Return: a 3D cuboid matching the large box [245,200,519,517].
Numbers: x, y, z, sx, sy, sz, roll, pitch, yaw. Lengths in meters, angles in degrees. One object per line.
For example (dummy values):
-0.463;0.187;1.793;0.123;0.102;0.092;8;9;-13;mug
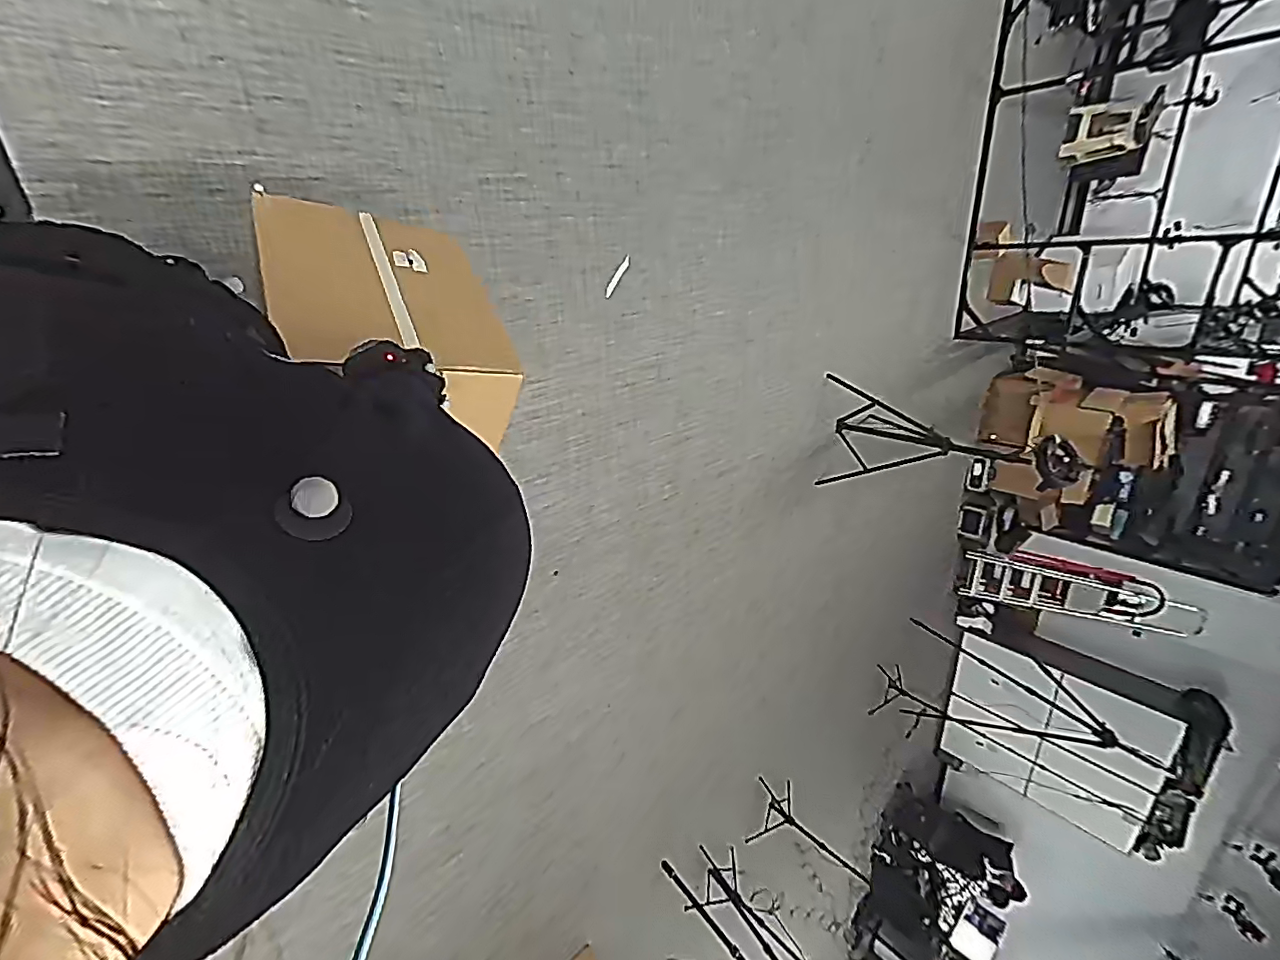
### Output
-0.452;-0.198;0.916;0.320;0.408;0.320;-5;142;-38;large box
